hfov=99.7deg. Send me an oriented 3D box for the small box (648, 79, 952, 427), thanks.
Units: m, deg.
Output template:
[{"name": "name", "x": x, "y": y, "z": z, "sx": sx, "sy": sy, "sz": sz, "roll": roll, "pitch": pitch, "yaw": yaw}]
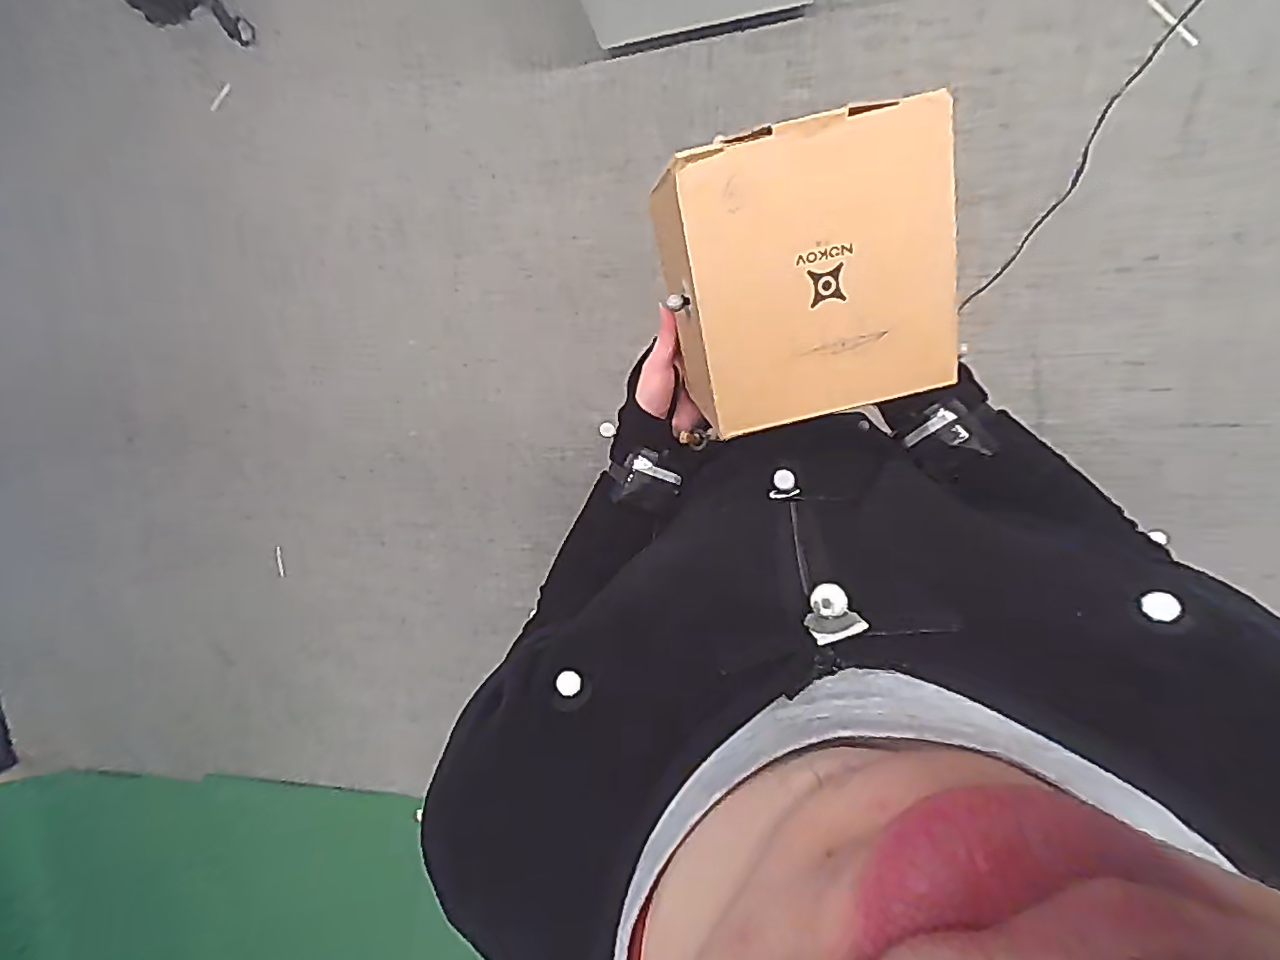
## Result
[{"name": "small box", "x": 0.106, "y": -0.158, "z": 0.411, "sx": 0.168, "sy": 0.176, "sz": 0.179, "roll": -13, "pitch": 111, "yaw": 1}]
